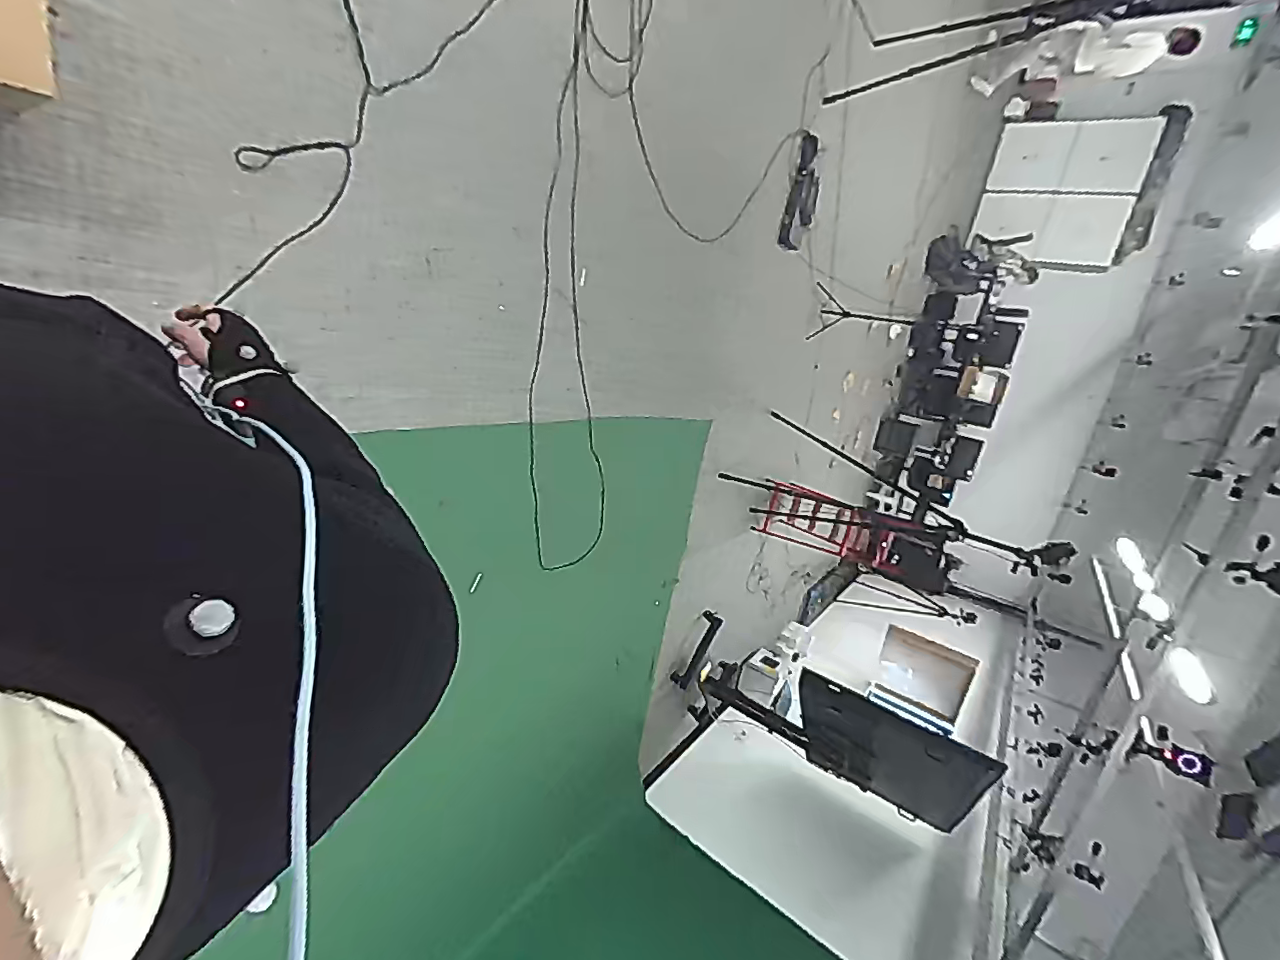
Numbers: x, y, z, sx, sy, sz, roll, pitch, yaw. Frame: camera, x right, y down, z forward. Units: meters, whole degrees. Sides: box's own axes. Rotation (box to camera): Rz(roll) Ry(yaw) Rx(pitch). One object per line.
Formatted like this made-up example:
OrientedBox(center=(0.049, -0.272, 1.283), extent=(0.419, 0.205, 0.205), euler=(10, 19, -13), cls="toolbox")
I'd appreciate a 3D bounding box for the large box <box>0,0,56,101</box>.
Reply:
OrientedBox(center=(-1.129, -0.767, 0.731), extent=(0.408, 0.320, 0.320), euler=(-14, 118, -51), cls="large box")
